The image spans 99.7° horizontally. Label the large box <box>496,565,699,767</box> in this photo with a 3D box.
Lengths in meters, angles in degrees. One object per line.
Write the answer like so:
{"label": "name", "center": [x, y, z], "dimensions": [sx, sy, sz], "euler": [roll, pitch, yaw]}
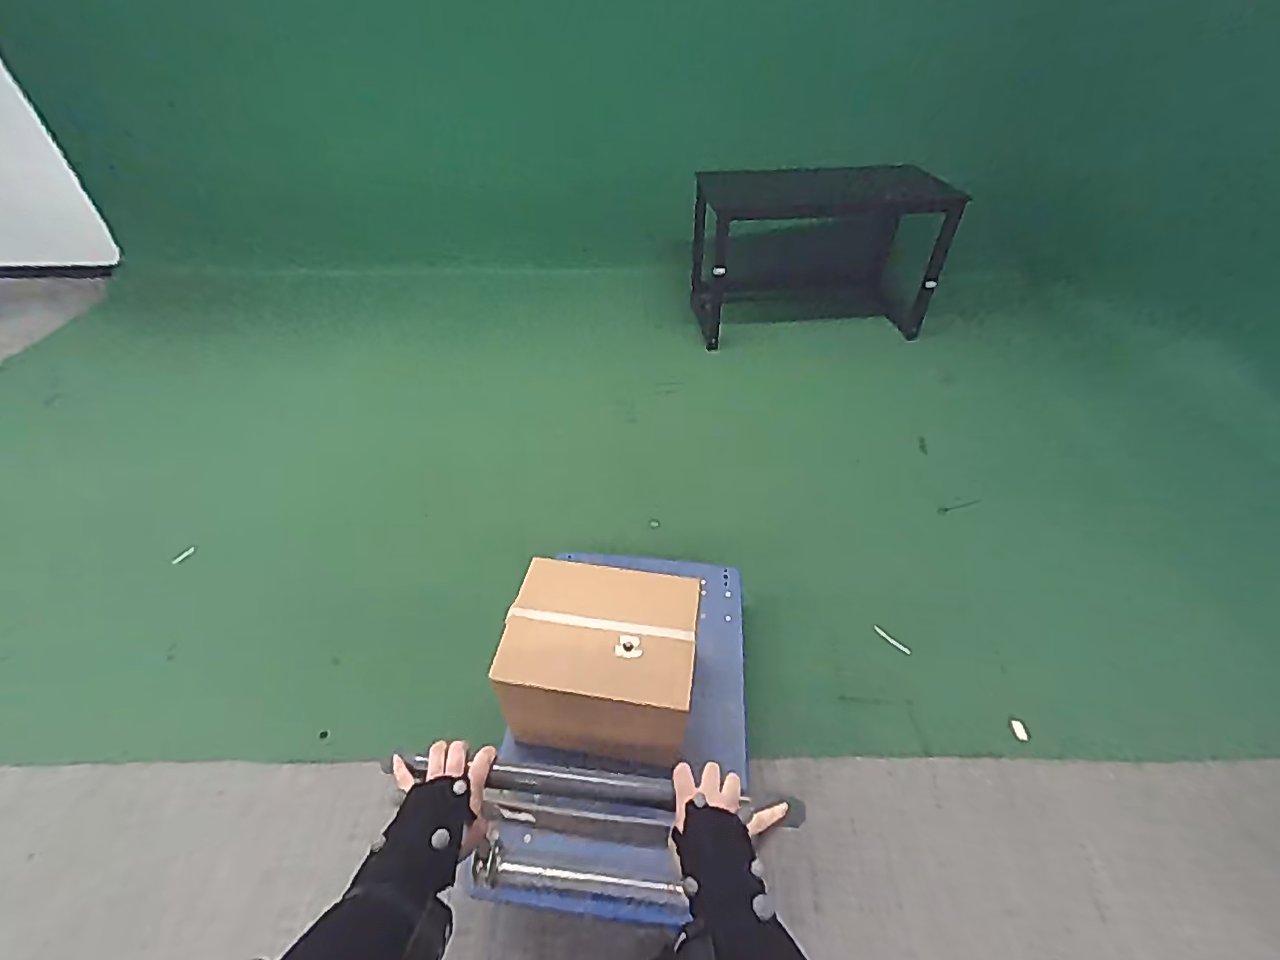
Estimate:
{"label": "large box", "center": [-0.083, 0.438, 1.281], "dimensions": [0.408, 0.320, 0.320], "euler": [7, 43, 5]}
